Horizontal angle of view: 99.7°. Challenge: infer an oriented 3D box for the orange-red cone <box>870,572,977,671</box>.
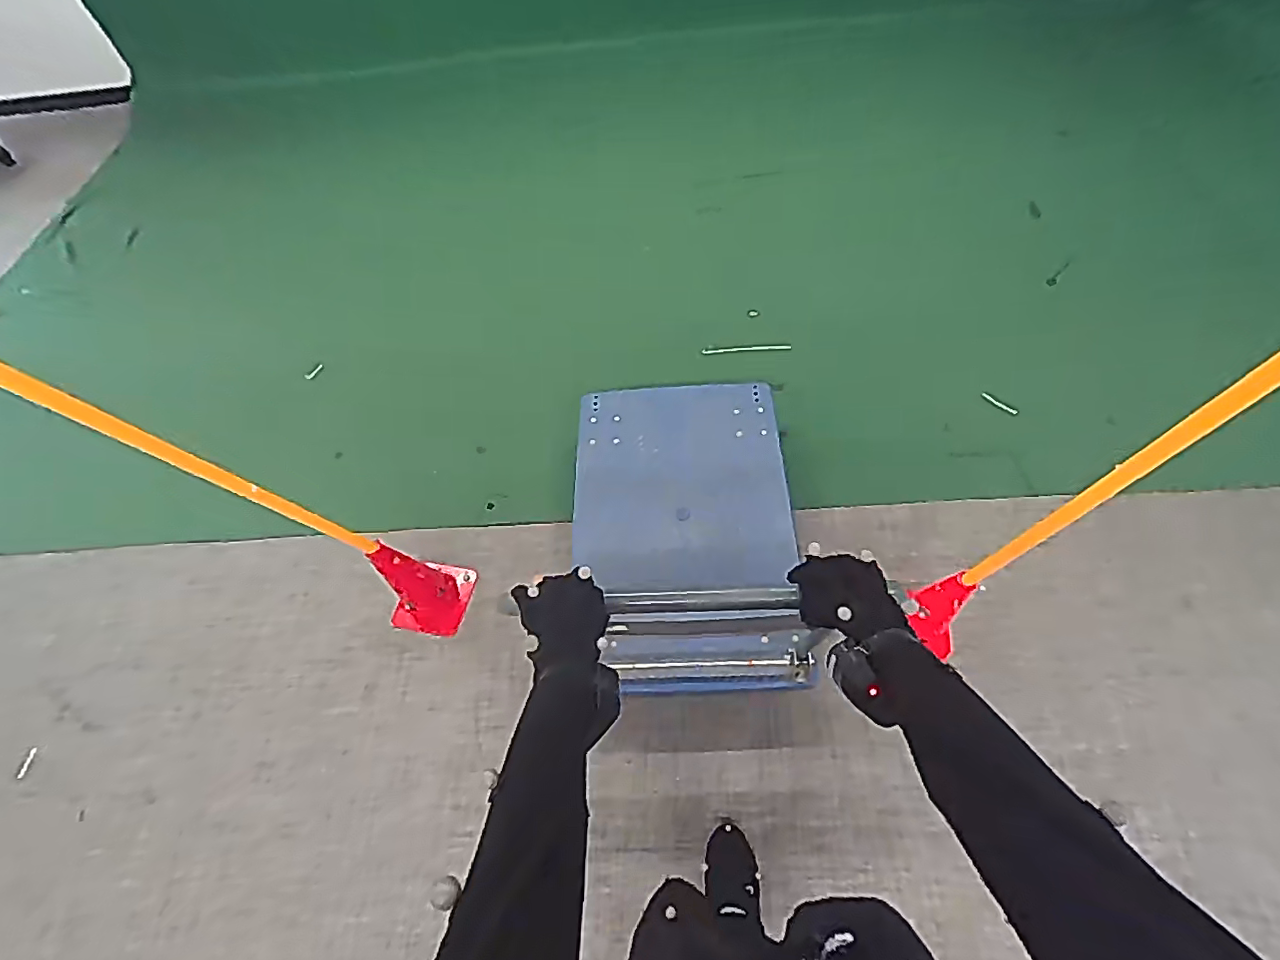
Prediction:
[{"bbox_3d":[0.684,0.294,1.249,0.198,0.360,0.199,6,61,9],"label":"orange-red cone"}]
